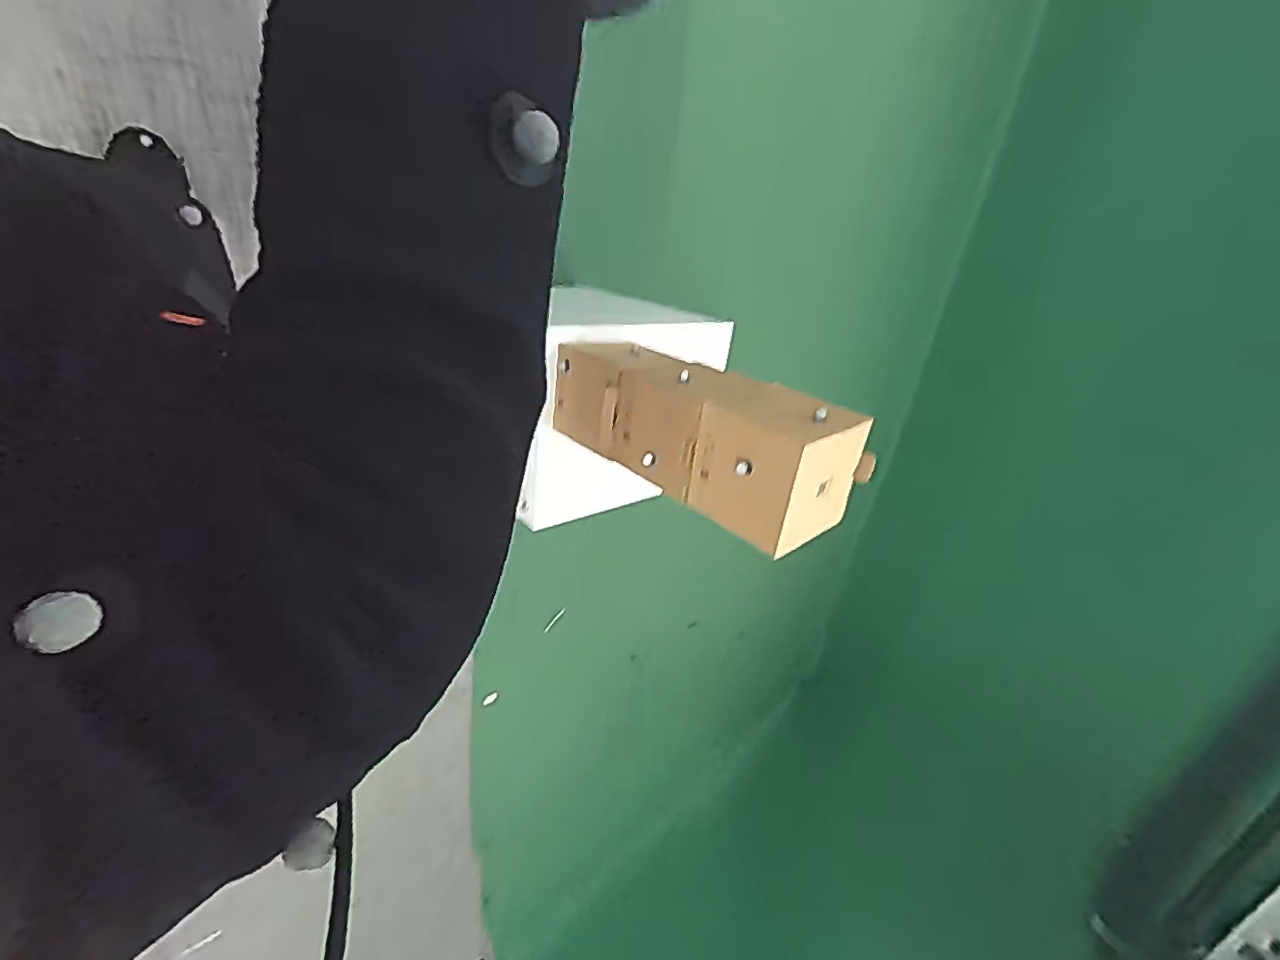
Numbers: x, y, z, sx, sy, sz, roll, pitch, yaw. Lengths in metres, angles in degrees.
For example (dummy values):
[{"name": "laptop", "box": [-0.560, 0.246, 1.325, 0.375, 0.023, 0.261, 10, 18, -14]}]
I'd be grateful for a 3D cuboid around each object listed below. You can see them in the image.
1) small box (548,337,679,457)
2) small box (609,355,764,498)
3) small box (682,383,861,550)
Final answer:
[{"name": "small box", "box": [-0.047, -0.157, 0.973, 0.179, 0.176, 0.168, -16, 125, -42]}, {"name": "small box", "box": [0.069, -0.096, 0.877, 0.179, 0.176, 0.168, -19, 128, -41]}, {"name": "small box", "box": [0.181, -0.030, 0.779, 0.179, 0.176, 0.168, -20, 128, -40]}]
